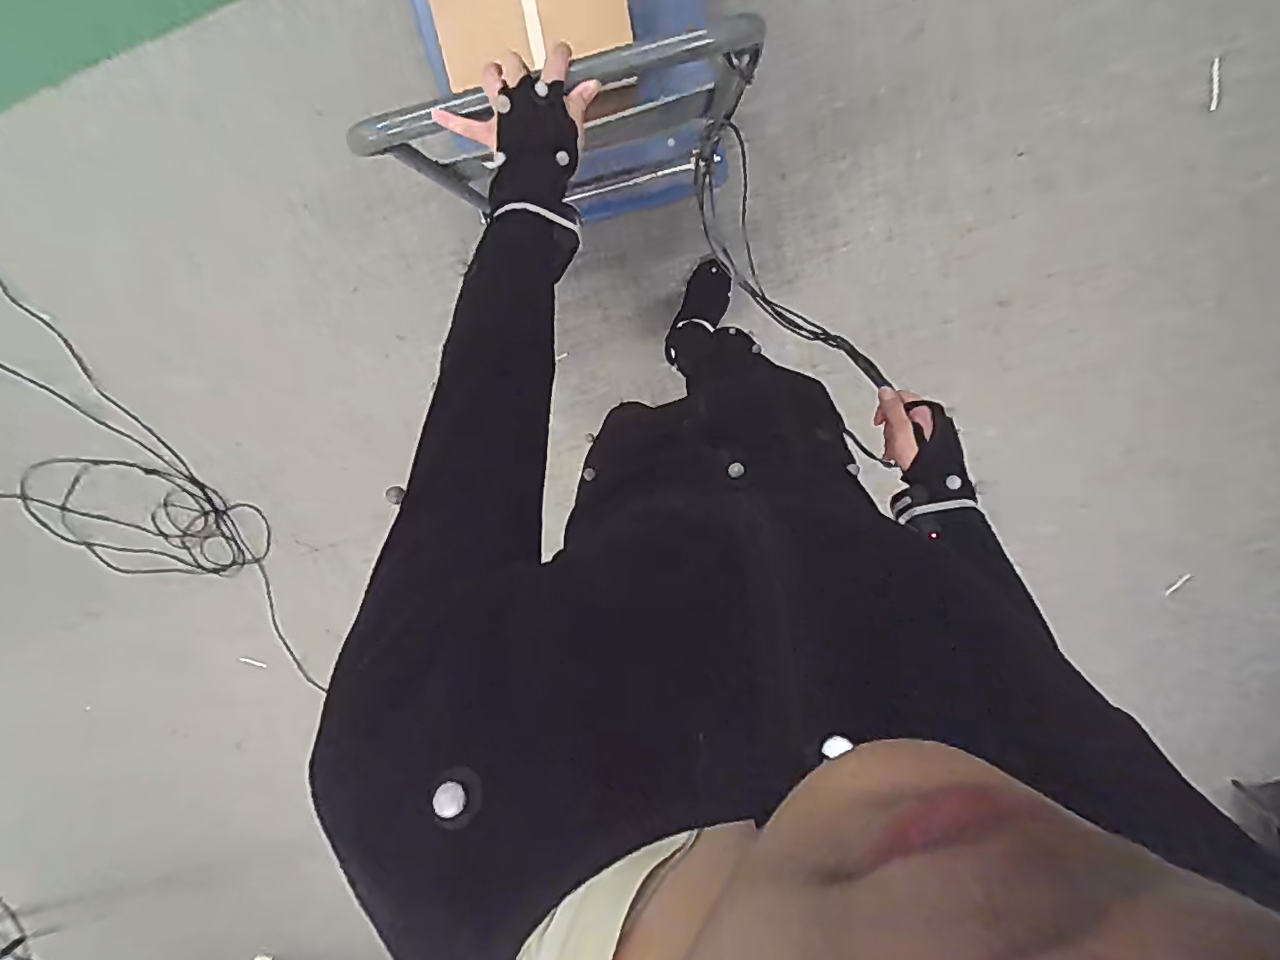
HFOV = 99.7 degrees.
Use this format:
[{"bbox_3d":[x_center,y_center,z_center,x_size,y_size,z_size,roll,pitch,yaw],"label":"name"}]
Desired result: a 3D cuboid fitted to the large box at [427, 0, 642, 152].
[{"bbox_3d":[-0.187,-0.869,0.959,0.320,0.320,0.408,-9,110,5],"label":"large box"}]
